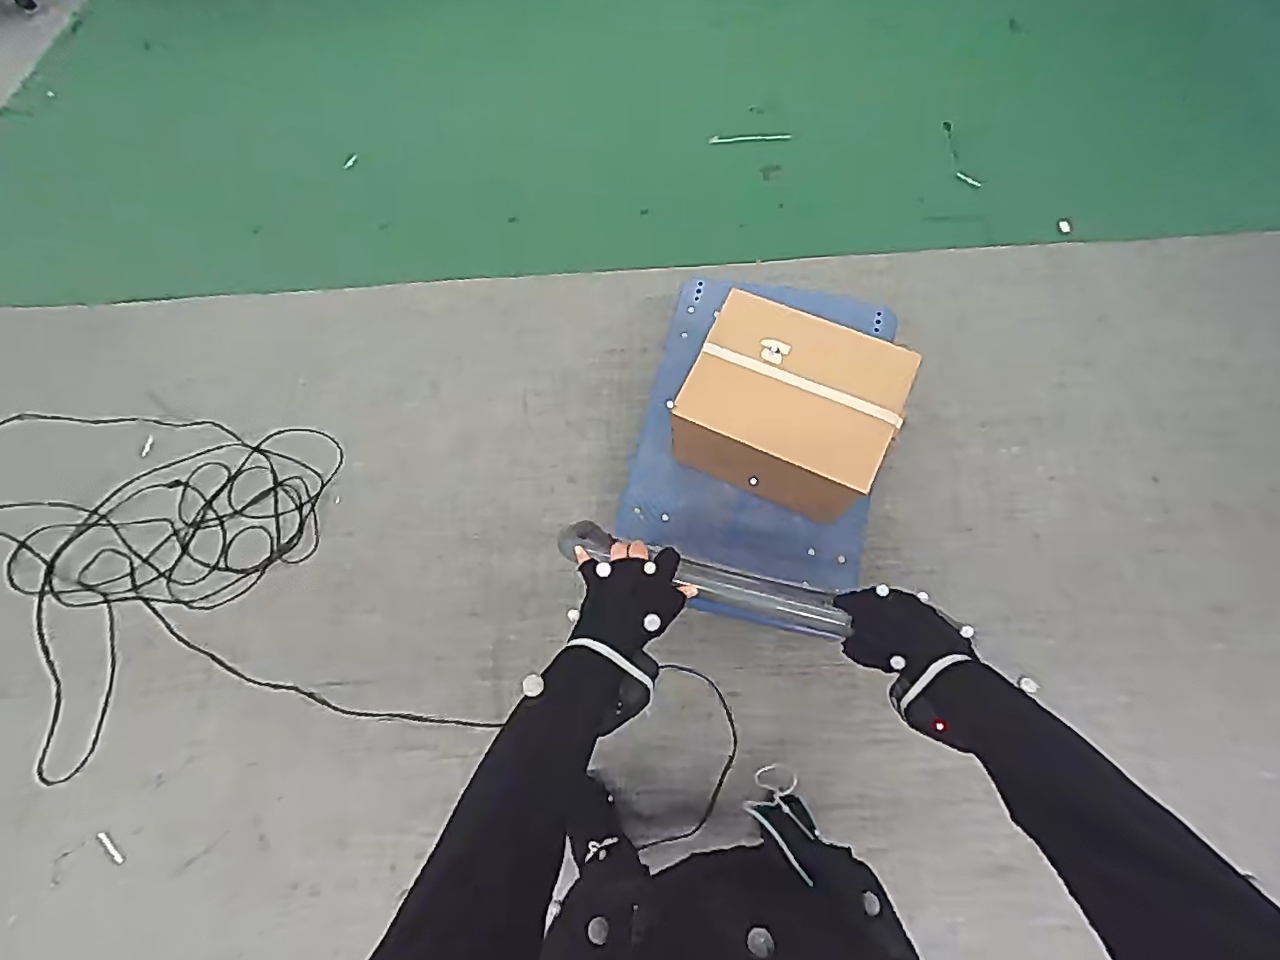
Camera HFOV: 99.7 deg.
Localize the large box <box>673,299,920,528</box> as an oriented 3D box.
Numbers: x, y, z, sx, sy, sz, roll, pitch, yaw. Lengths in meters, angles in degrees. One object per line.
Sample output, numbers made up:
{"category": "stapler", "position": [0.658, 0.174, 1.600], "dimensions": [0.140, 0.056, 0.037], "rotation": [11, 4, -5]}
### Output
{"category": "large box", "position": [0.324, -0.131, 1.204], "dimensions": [0.408, 0.320, 0.320], "rotation": [25, 77, 13]}
